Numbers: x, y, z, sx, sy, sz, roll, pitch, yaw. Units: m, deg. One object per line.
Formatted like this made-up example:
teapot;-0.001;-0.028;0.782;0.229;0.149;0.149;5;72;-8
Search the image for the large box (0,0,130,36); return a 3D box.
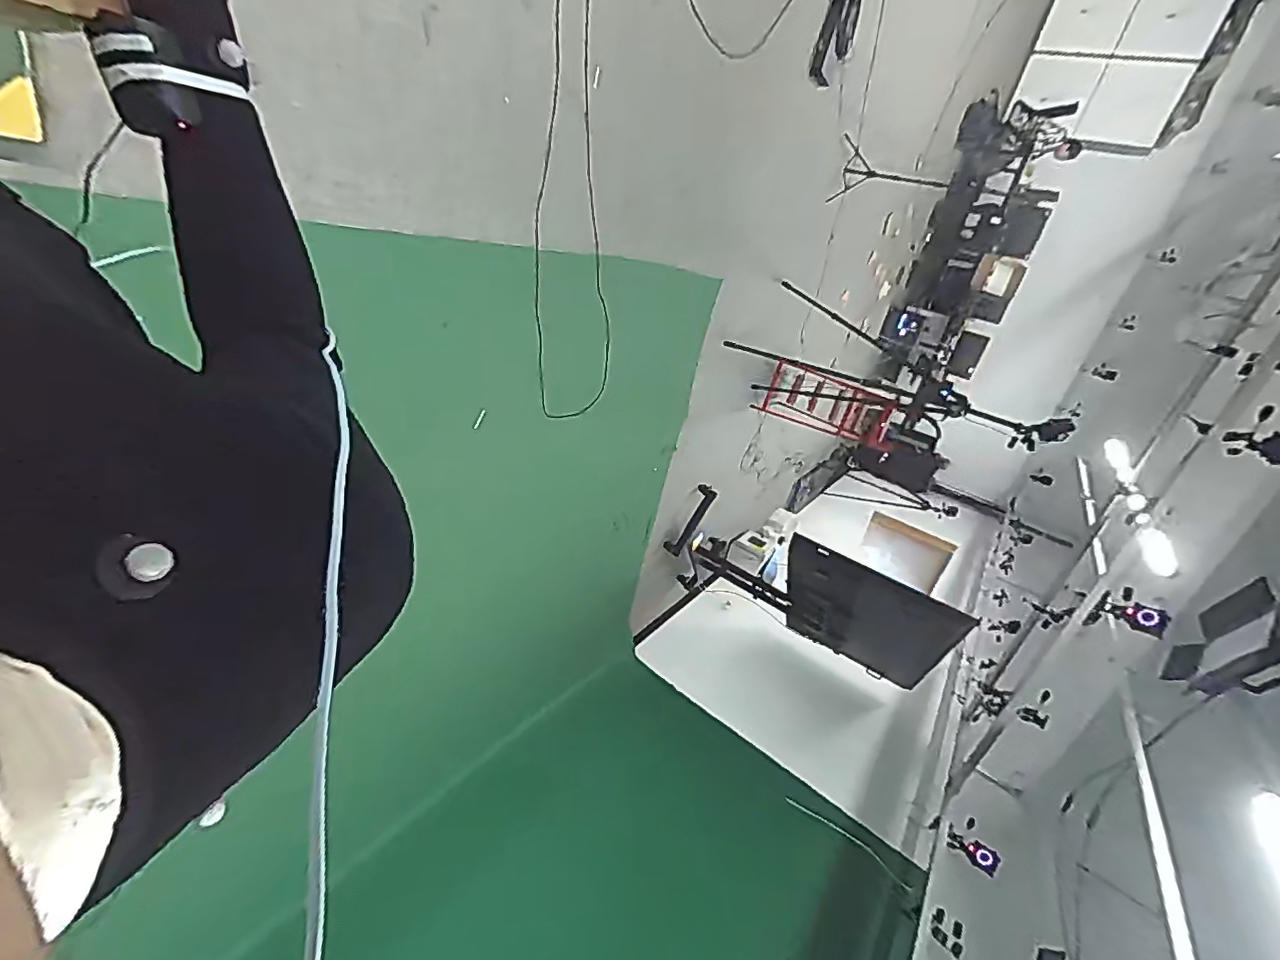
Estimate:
large box;-0.576;-0.469;0.250;0.408;0.320;0.320;-21;130;-50
